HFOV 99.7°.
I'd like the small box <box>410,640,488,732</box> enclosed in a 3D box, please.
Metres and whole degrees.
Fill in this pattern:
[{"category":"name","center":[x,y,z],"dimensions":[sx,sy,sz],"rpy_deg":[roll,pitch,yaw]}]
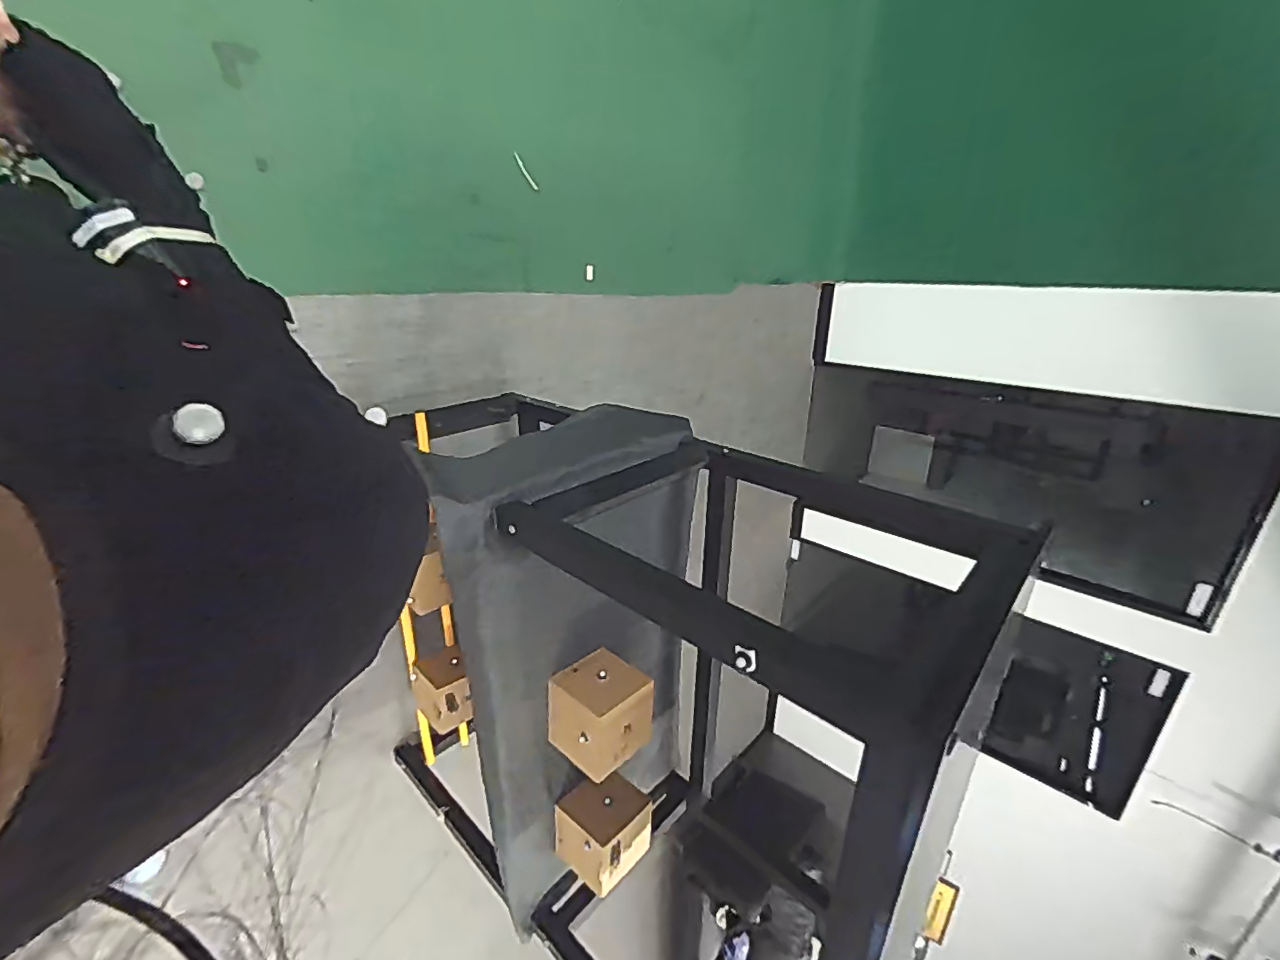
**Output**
[{"category":"small box","center":[-0.593,0.627,1.667],"dimensions":[0.179,0.176,0.168],"rpy_deg":[-17,118,-45]}]

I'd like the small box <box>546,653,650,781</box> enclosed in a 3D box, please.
[{"category":"small box","center":[-0.096,0.512,1.207],"dimensions":[0.168,0.176,0.179],"rpy_deg":[-17,118,-45]}]
